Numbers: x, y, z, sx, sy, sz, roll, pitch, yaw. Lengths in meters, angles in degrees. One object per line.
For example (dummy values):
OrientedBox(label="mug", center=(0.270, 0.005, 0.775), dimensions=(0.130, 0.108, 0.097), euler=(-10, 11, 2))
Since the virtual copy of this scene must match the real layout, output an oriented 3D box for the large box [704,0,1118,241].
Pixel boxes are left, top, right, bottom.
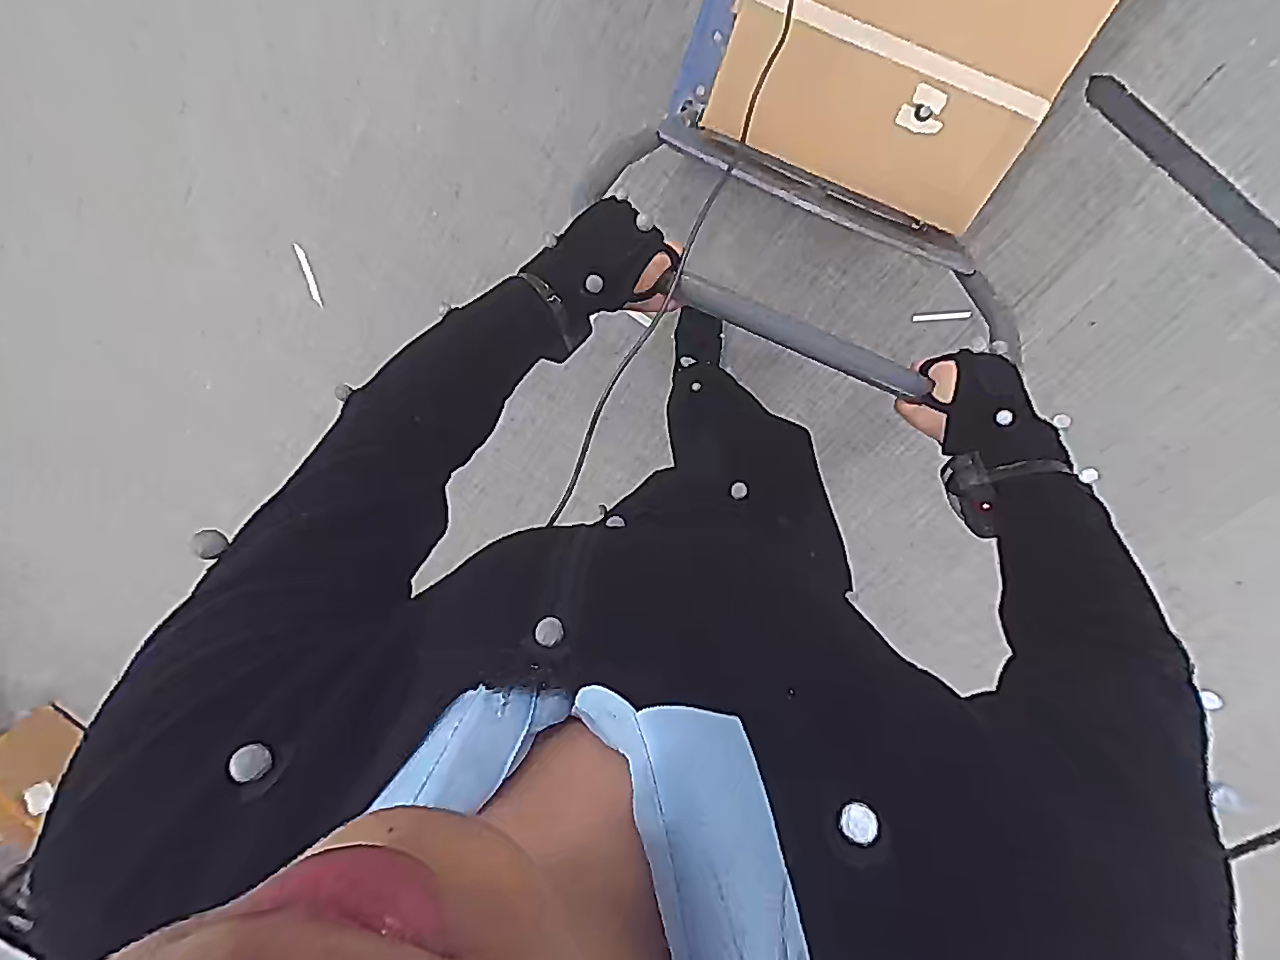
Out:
OrientedBox(label="large box", center=(0.346, -0.605, 0.796), dimensions=(0.408, 0.320, 0.320), euler=(23, 127, -1))
